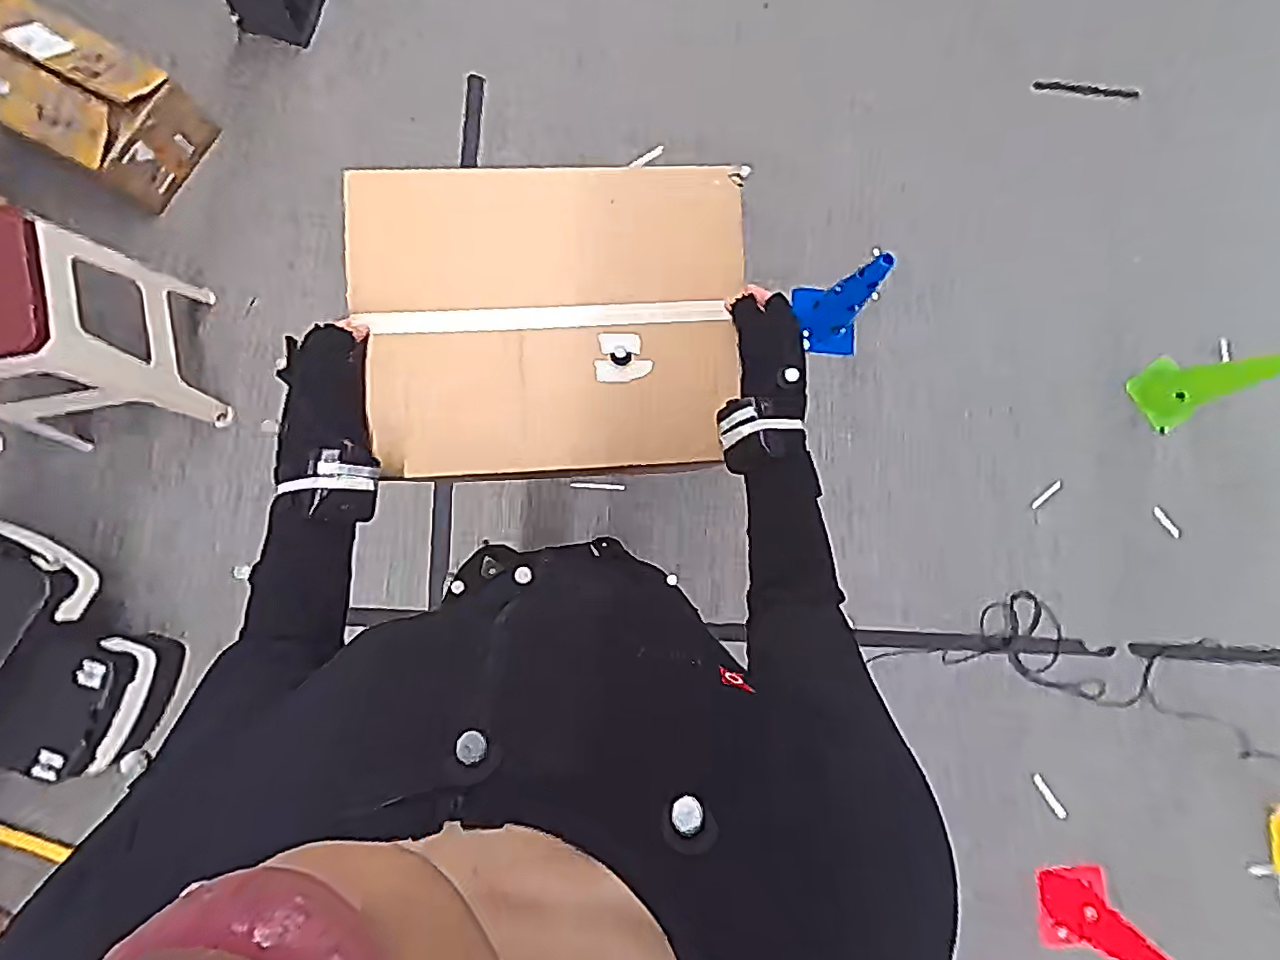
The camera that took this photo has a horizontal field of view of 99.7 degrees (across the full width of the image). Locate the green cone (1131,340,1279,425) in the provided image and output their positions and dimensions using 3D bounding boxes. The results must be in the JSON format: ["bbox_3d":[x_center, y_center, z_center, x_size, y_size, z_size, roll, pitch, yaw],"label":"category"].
[{"bbox_3d":[1.678,-0.321,1.526,0.200,0.368,0.202,-35,86,-9],"label":"green cone"}]

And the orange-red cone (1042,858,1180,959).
[{"bbox_3d":[1.219,1.132,1.320,0.199,0.360,0.198,1,84,-7],"label":"orange-red cone"}]

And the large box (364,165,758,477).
[{"bbox_3d":[-0.091,-0.172,0.710,0.408,0.320,0.320,-2,89,-5],"label":"large box"}]

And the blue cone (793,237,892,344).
[{"bbox_3d":[0.566,-0.527,1.467,0.193,0.380,0.192,6,82,-5],"label":"blue cone"}]
